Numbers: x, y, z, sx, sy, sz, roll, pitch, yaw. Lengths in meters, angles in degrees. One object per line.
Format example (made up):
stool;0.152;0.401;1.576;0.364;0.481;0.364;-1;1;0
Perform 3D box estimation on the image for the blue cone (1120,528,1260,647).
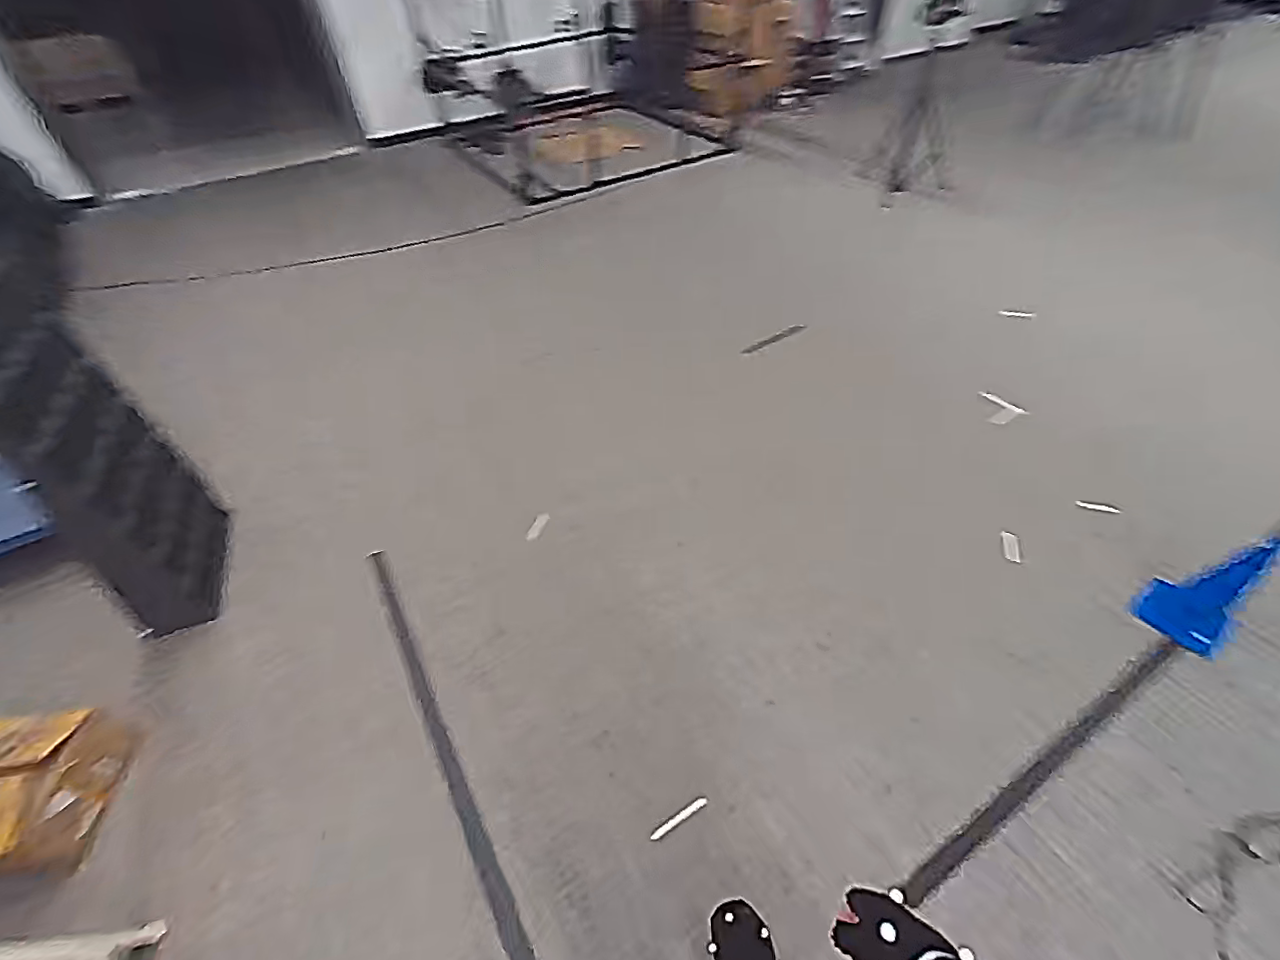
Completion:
blue cone;1.543;0.270;1.474;0.193;0.380;0.192;-28;50;-23
